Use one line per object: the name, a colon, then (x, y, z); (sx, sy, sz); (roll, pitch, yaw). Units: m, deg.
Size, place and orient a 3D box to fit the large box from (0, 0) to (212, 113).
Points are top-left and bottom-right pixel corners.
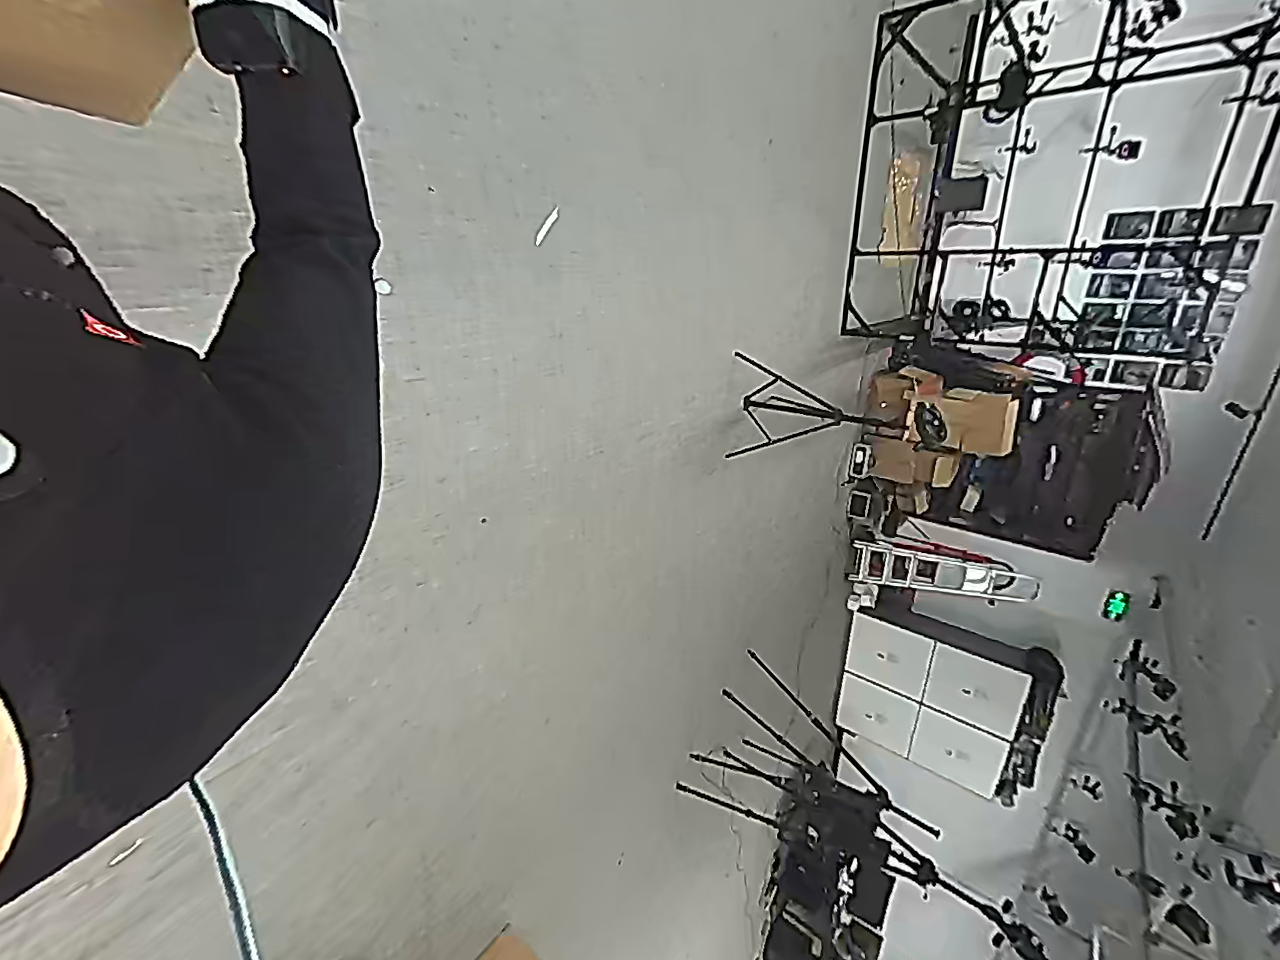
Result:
large box: (-0.526, -0.464, 0.282); (0.408, 0.320, 0.320); (-14, 110, -49)
